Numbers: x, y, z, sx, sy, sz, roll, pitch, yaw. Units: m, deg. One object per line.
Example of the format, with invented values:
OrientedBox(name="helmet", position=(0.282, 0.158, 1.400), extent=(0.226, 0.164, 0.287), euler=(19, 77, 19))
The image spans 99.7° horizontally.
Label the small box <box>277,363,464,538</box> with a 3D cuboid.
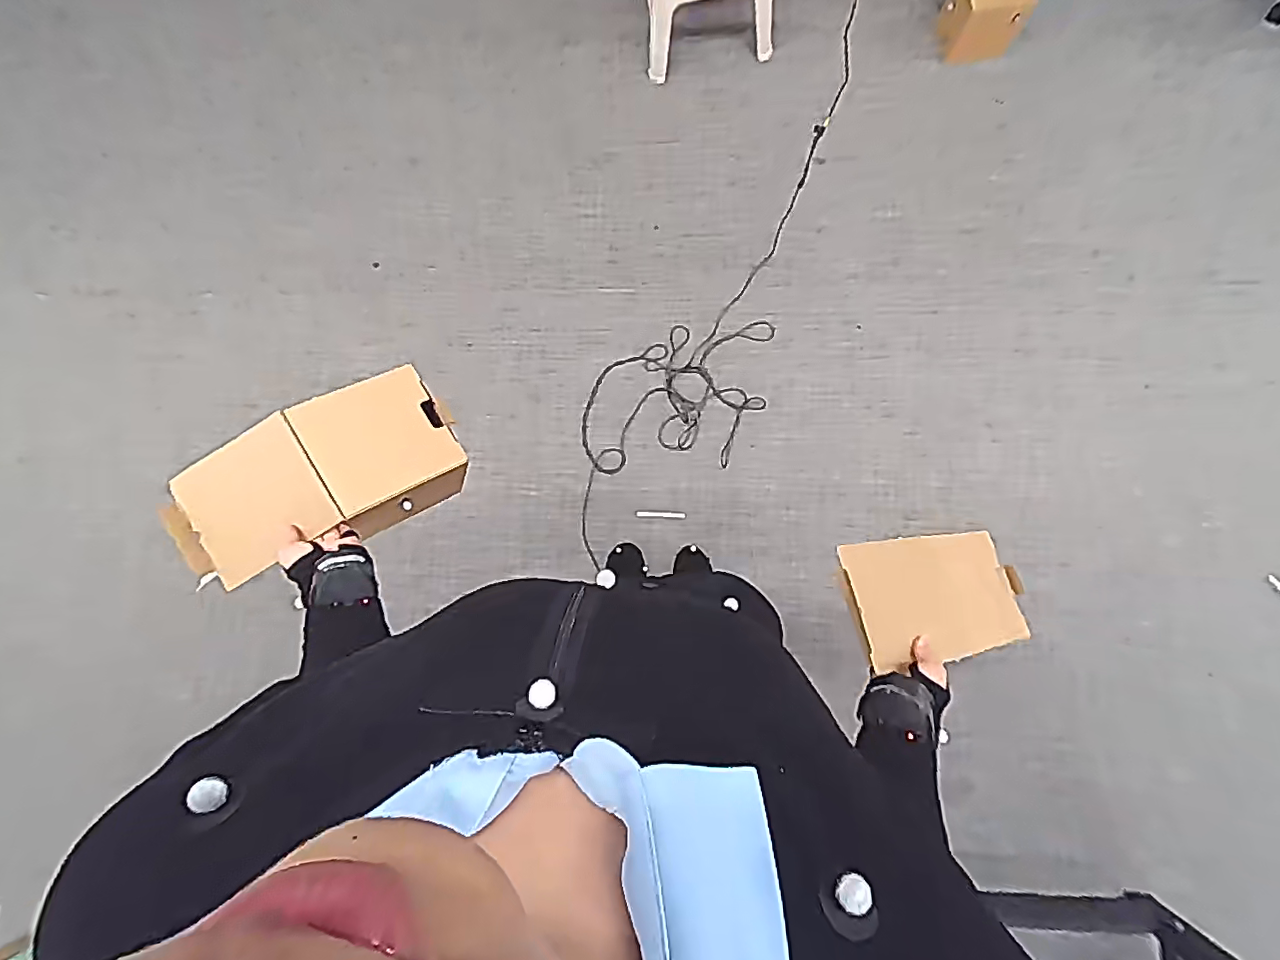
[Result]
OrientedBox(name="small box", position=(-0.376, -0.034, 0.780), extent=(0.179, 0.176, 0.168), euler=(-30, 86, -27))
